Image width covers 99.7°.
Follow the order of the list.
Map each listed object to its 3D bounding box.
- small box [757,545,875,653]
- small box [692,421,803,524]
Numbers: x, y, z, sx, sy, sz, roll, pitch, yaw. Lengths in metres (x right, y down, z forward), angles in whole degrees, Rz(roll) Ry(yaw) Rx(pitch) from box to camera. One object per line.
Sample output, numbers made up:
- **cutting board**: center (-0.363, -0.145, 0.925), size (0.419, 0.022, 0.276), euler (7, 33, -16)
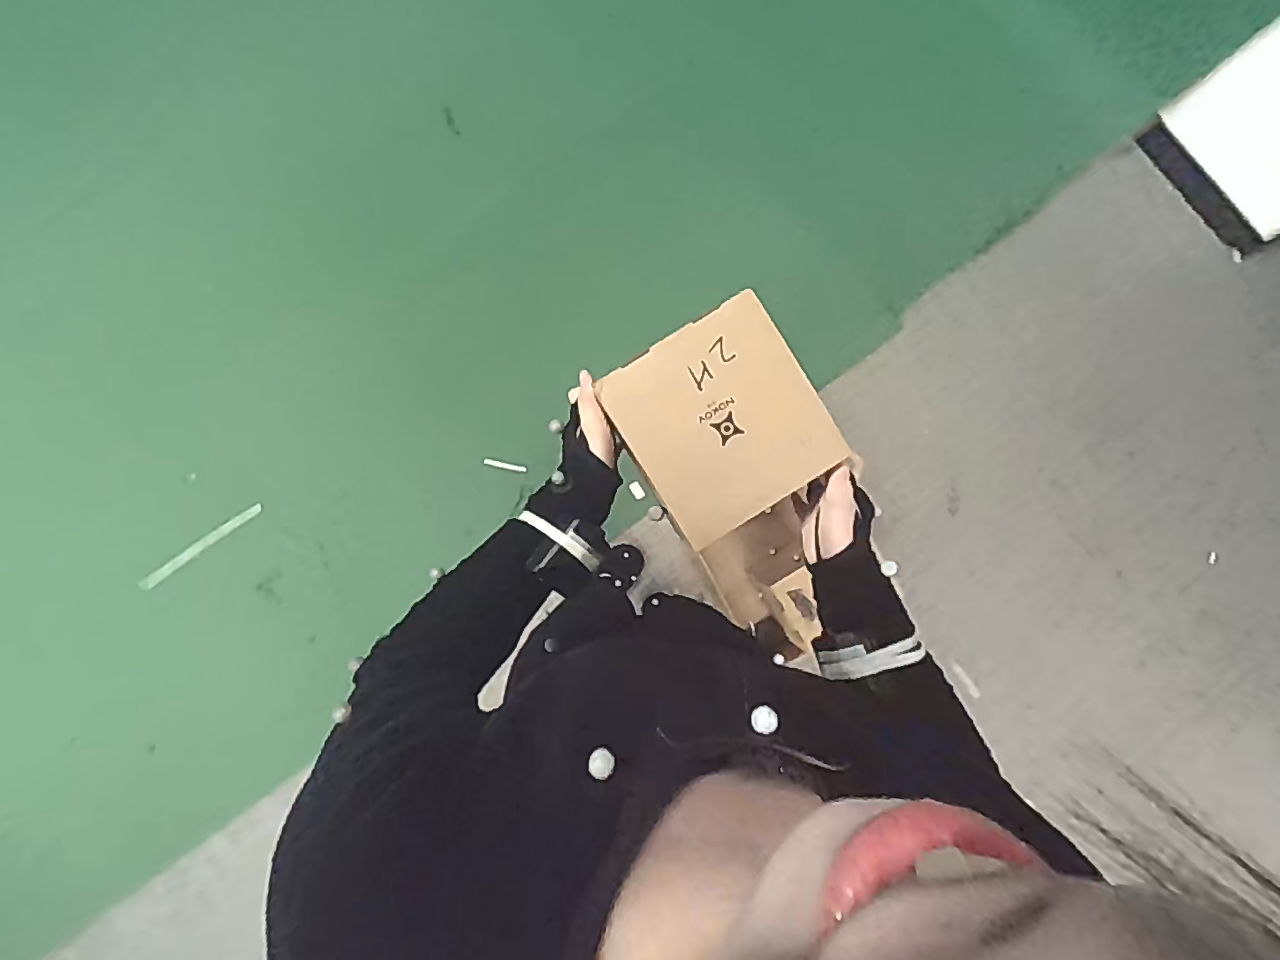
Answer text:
- **small box**: center (0.376, 0.257, 1.201), size (0.179, 0.176, 0.168), euler (-29, 86, -4)
- **small box**: center (0.234, -0.014, 1.226), size (0.179, 0.176, 0.168), euler (-28, 87, -2)
